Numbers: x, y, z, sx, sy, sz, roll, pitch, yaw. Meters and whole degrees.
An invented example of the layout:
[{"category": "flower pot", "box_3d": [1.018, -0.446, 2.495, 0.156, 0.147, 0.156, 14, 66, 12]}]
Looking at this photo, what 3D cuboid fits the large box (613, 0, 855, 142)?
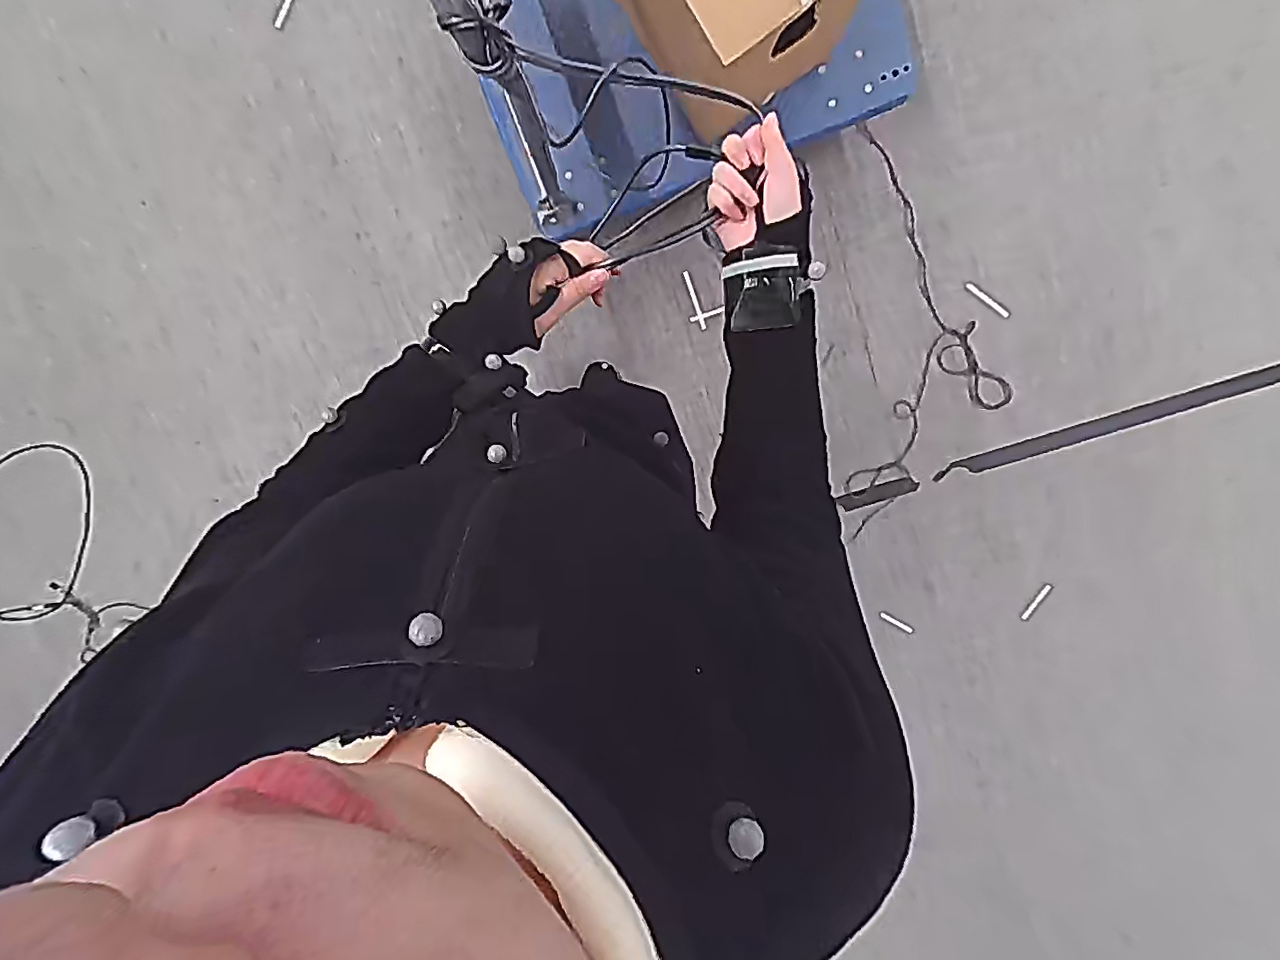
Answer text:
[{"category": "large box", "box_3d": [0.149, -0.939, 0.975, 0.320, 0.320, 0.408, -34, 99, 7]}]
